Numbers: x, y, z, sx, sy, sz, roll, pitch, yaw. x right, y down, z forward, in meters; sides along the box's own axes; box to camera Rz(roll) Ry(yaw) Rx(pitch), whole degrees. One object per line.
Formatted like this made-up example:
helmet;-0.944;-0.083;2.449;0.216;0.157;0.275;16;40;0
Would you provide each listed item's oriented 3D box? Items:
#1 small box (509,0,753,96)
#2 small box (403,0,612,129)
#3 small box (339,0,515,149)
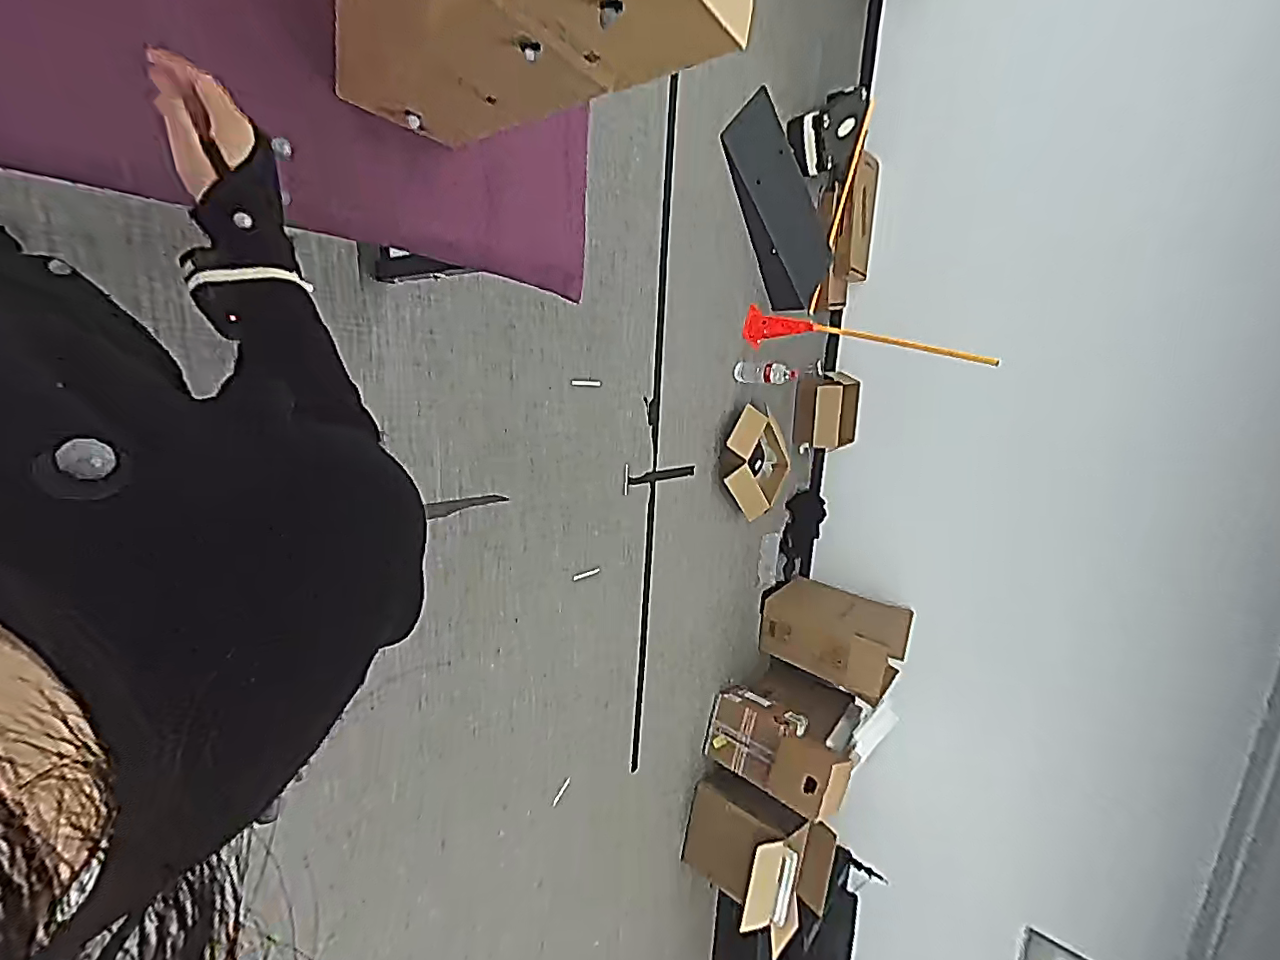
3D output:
small box;-0.009;-0.485;0.476;0.168;0.176;0.179;-3;101;-50
small box;-0.134;-0.519;0.575;0.168;0.176;0.179;-2;101;-50
small box;-0.258;-0.552;0.677;0.168;0.176;0.179;-6;104;-50
